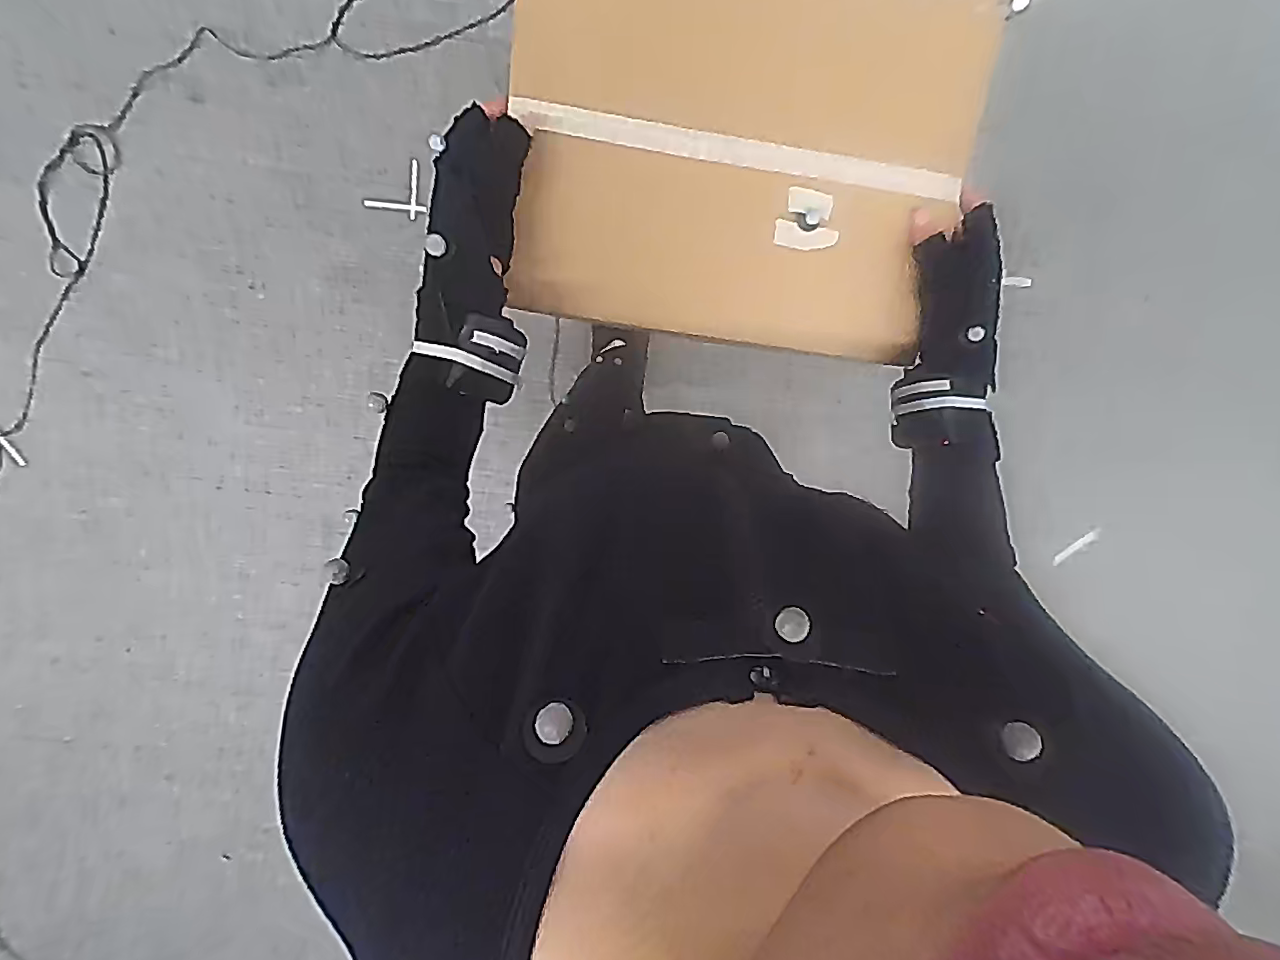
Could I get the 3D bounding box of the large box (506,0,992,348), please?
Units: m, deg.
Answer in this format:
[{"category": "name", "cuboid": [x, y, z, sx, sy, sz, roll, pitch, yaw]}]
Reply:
[{"category": "large box", "cuboid": [0.076, -0.334, 0.621, 0.408, 0.320, 0.320, 6, 105, -6]}]
